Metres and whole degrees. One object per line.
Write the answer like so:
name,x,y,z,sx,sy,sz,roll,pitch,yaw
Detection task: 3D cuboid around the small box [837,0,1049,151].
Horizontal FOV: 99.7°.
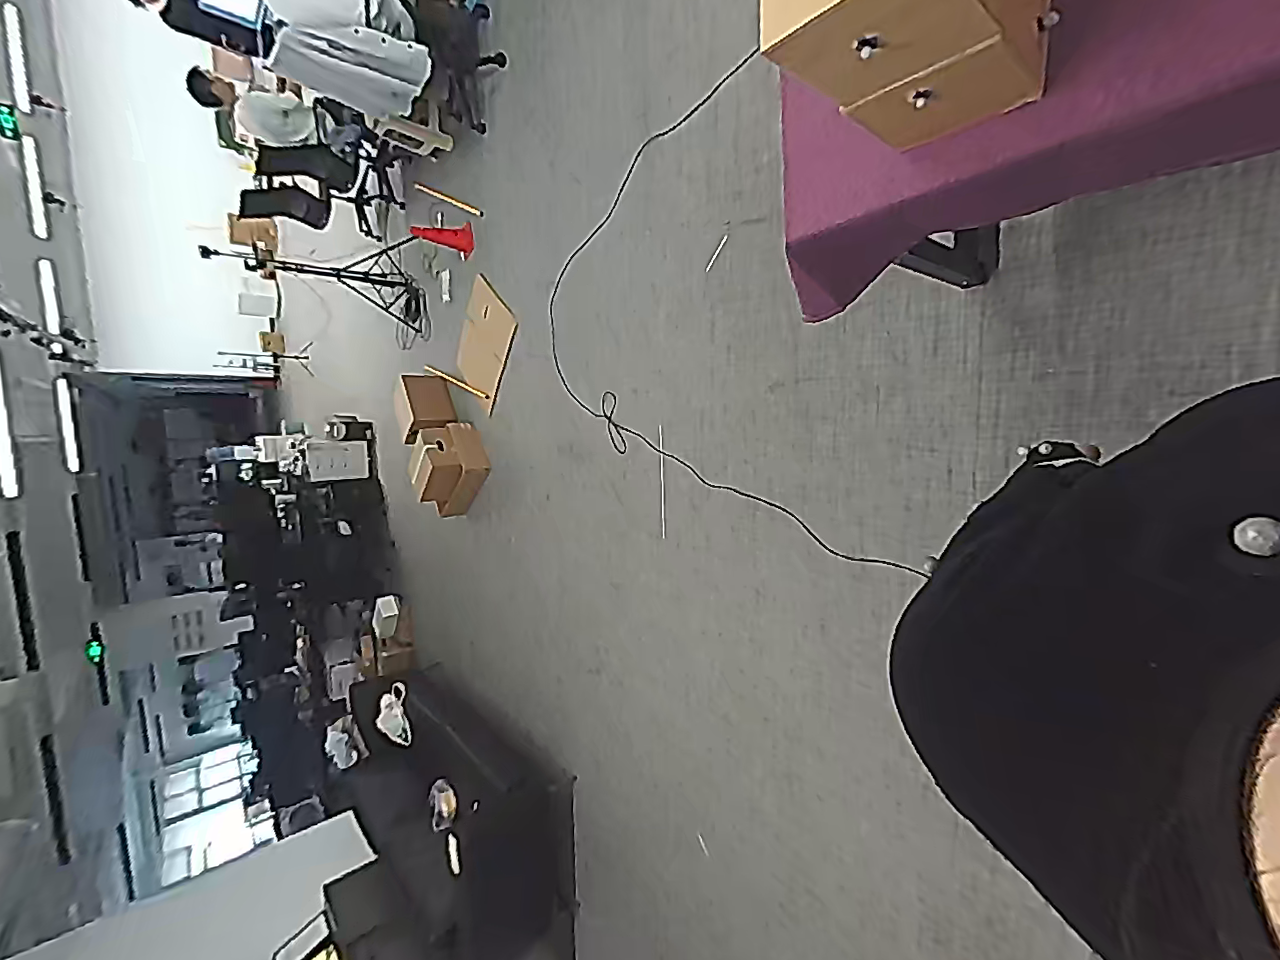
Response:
small box,0.364,-0.533,0.654,0.179,0.176,0.168,7,101,48

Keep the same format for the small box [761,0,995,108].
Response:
small box,0.242,-0.521,0.544,0.179,0.176,0.168,6,100,50
